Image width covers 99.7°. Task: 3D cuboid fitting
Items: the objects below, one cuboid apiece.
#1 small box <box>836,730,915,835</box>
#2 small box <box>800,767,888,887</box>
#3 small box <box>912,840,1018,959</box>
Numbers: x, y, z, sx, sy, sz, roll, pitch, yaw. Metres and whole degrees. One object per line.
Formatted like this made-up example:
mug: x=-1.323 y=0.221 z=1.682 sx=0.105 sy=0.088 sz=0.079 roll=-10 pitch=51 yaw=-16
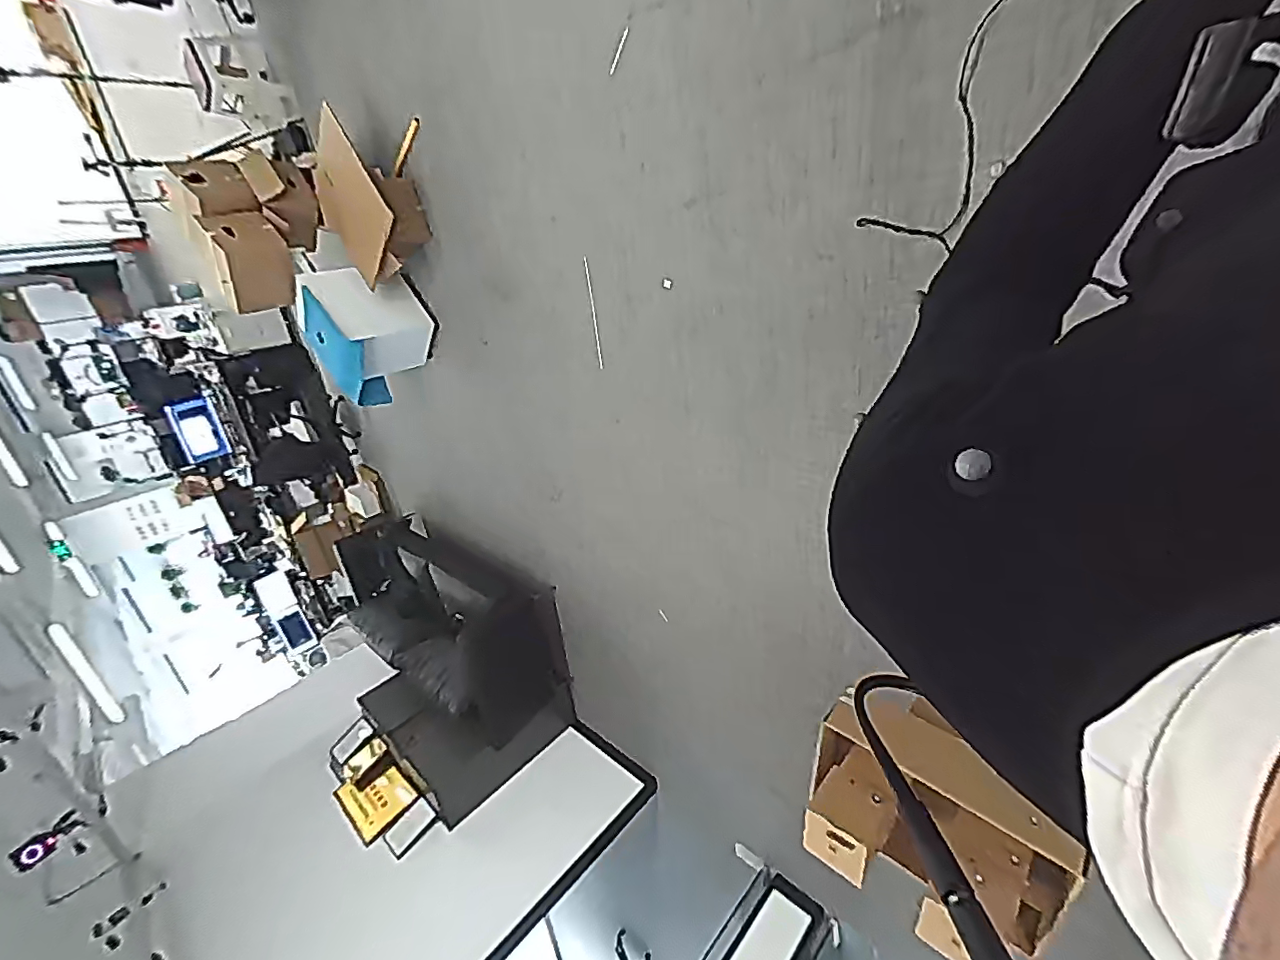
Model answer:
small box: x=0.671 y=0.875 z=1.565 sx=0.168 sy=0.176 sz=0.179 roll=23 pitch=126 yaw=37
small box: x=0.553 y=0.926 z=1.462 sx=0.168 sy=0.176 sz=0.179 roll=19 pitch=124 yaw=40
small box: x=0.769 y=1.014 z=1.279 sx=0.168 sy=0.176 sz=0.179 roll=18 pitch=124 yaw=39
